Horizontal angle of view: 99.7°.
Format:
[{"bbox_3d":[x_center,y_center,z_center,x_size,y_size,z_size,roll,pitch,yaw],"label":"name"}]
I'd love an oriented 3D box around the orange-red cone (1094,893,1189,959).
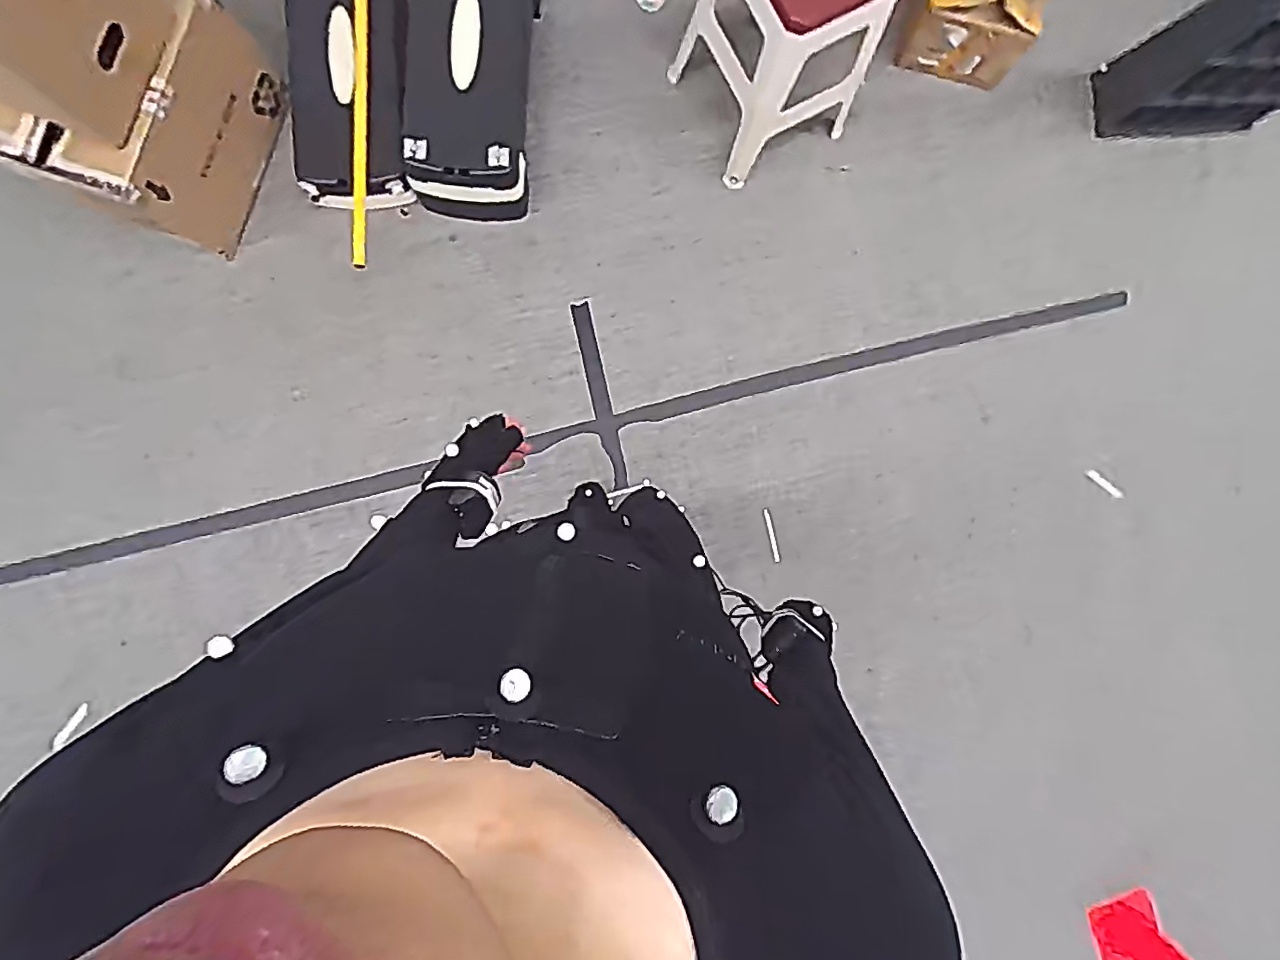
[{"bbox_3d":[1.418,1.296,1.377,0.198,0.360,0.199,-18,89,-5],"label":"orange-red cone"}]
